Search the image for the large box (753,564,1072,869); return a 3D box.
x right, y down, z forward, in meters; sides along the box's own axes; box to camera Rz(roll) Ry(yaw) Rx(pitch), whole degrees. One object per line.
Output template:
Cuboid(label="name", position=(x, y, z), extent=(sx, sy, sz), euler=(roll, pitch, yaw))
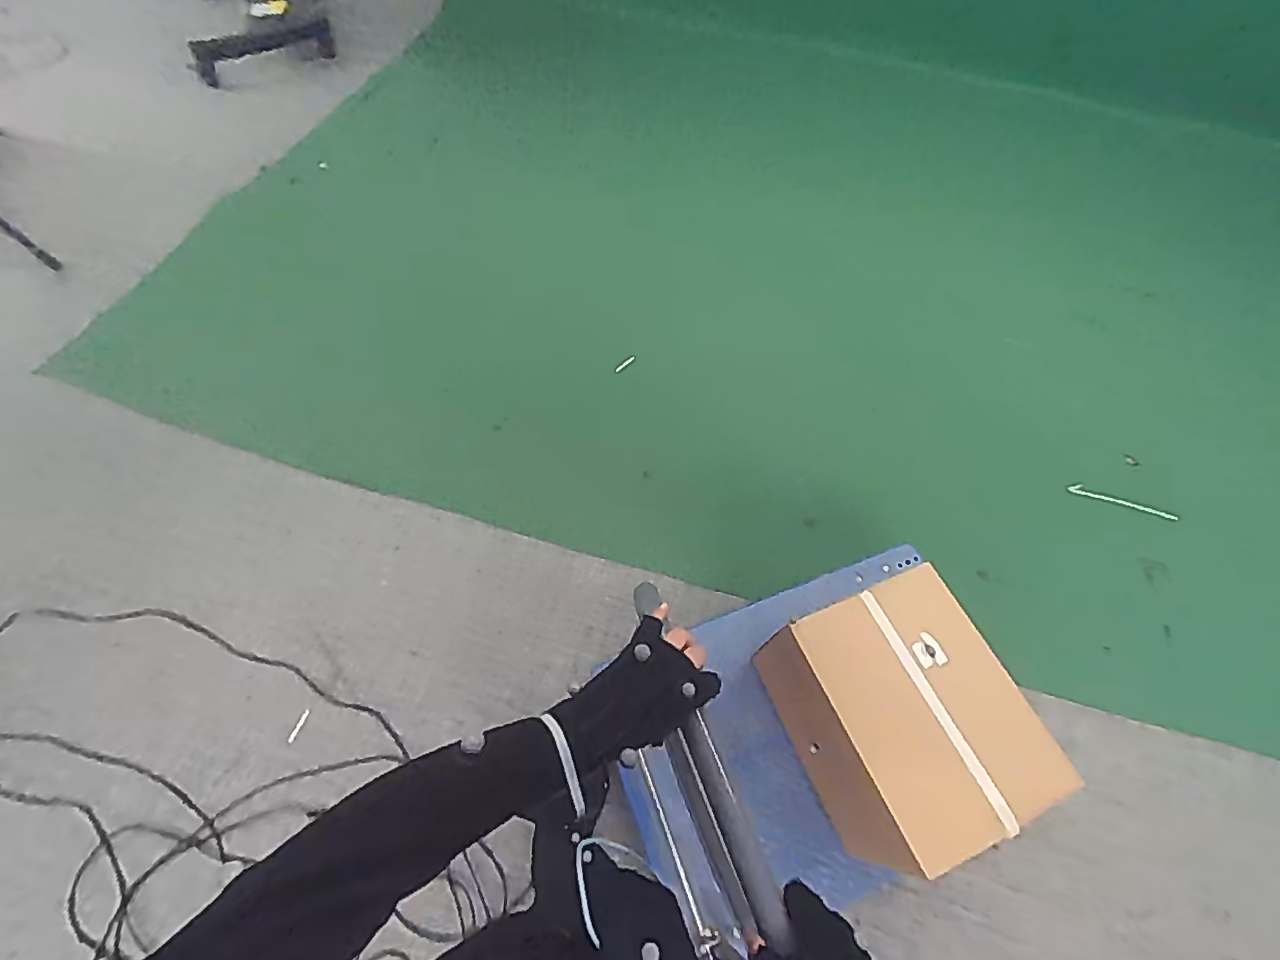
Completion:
Cuboid(label="large box", position=(0.472, 0.442, 1.045), extent=(0.320, 0.320, 0.408), euler=(-19, 63, -13))
